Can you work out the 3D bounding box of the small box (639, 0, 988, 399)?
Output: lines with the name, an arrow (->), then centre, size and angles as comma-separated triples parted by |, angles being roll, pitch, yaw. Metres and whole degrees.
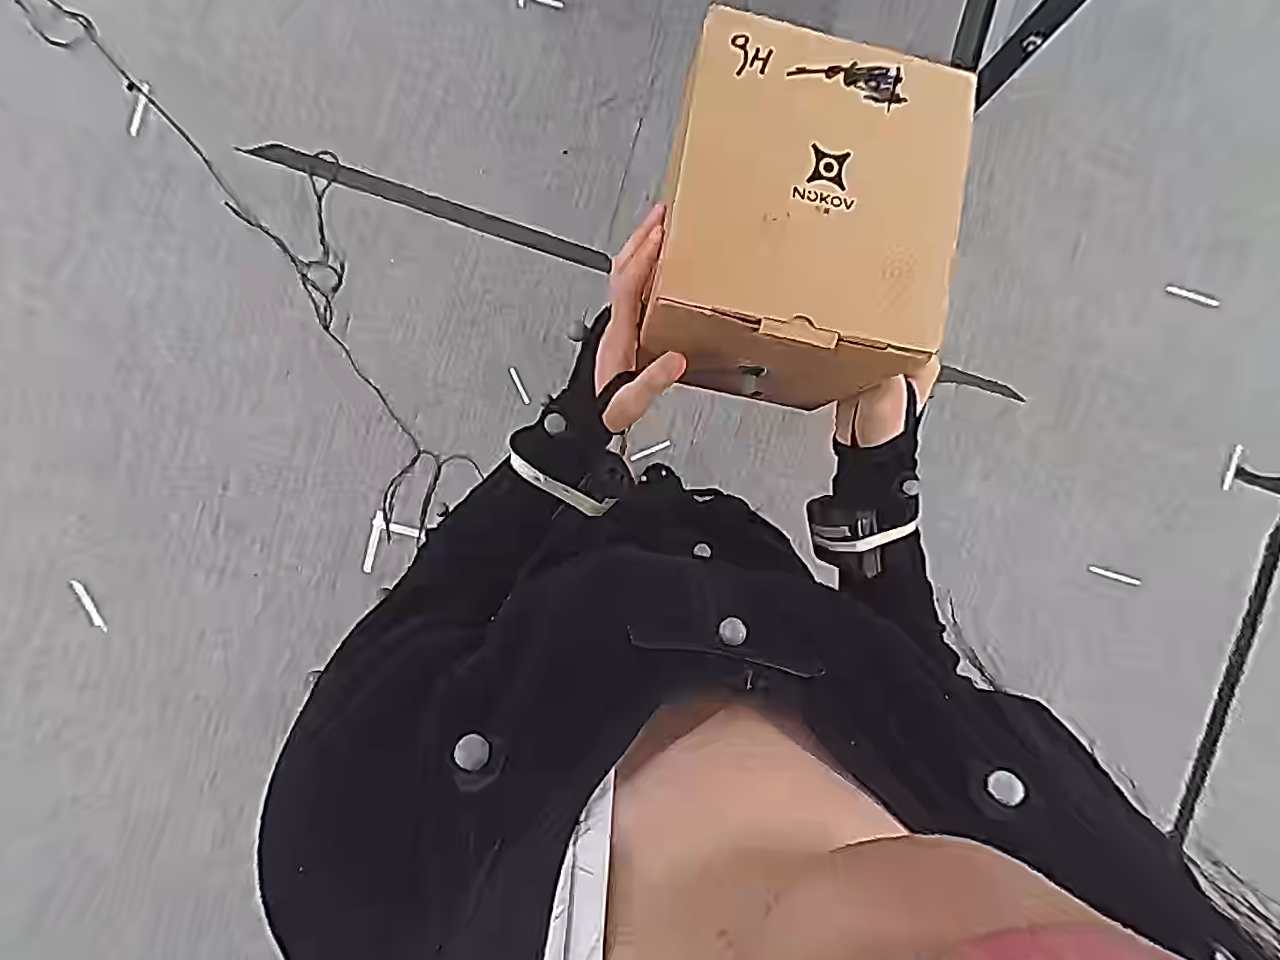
small box -> 0.097, -0.164, 0.378 | 0.168, 0.176, 0.179 | 10, 87, -6
